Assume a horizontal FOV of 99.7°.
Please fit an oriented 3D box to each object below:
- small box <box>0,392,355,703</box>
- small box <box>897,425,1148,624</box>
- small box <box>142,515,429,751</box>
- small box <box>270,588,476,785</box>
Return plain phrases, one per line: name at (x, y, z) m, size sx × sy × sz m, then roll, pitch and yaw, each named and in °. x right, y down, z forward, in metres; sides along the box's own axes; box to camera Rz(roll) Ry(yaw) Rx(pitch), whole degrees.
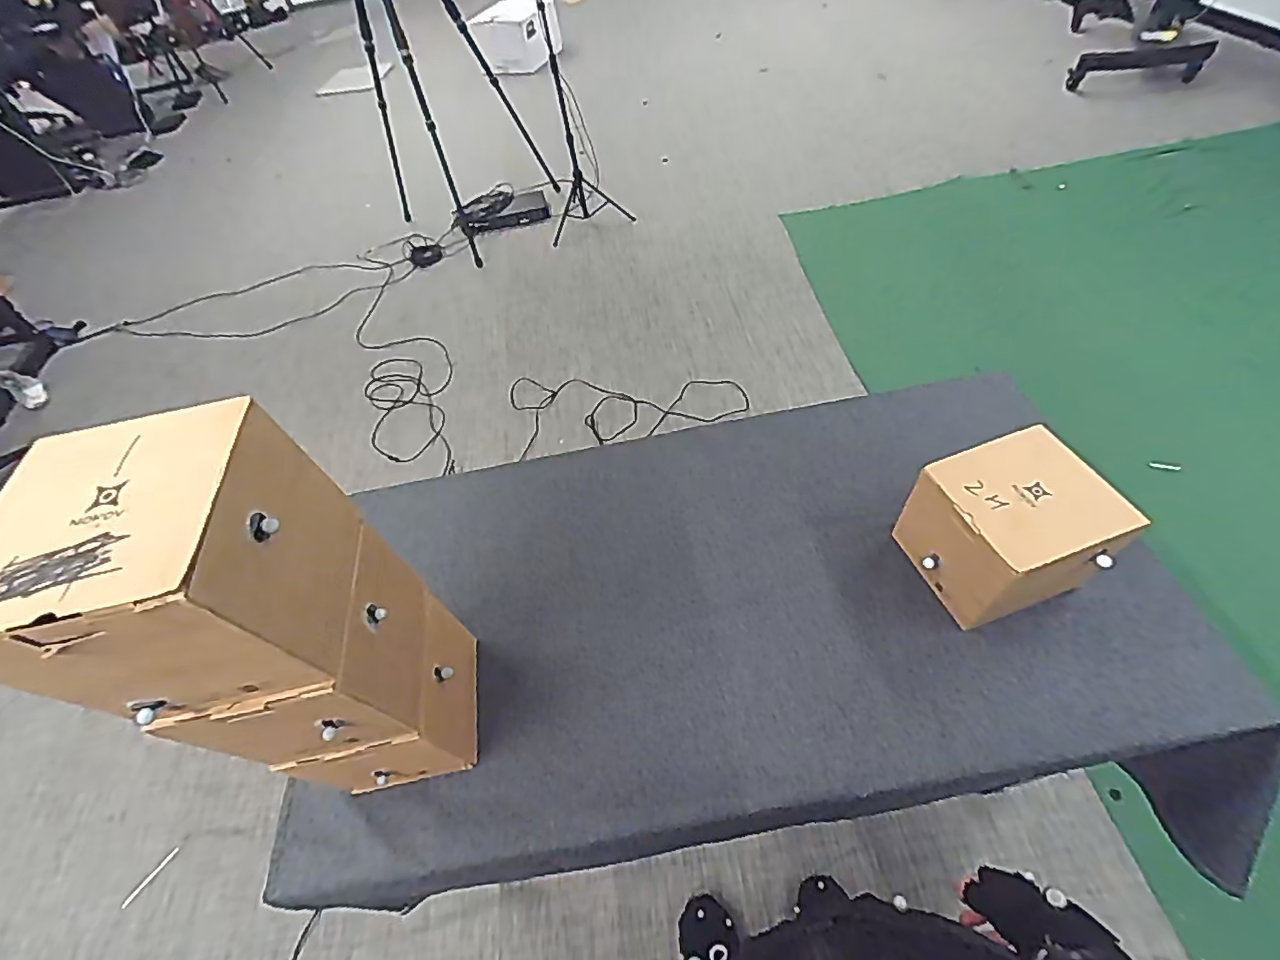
small box at (-0.355, 0.063, 0.431) m, size 0.168 × 0.176 × 0.179 m, roll -12°, pitch 53°, yaw -2°
small box at (0.473, 0.062, 0.706) m, size 0.179 × 0.176 × 0.168 m, roll -19°, pitch 53°, yaw -5°
small box at (-0.334, 0.165, 0.557) m, size 0.168 × 0.176 × 0.179 m, roll -11°, pitch 53°, yaw -1°
small box at (-0.317, 0.265, 0.685) m, size 0.168 × 0.176 × 0.179 m, roll -12°, pitch 53°, yaw -1°
